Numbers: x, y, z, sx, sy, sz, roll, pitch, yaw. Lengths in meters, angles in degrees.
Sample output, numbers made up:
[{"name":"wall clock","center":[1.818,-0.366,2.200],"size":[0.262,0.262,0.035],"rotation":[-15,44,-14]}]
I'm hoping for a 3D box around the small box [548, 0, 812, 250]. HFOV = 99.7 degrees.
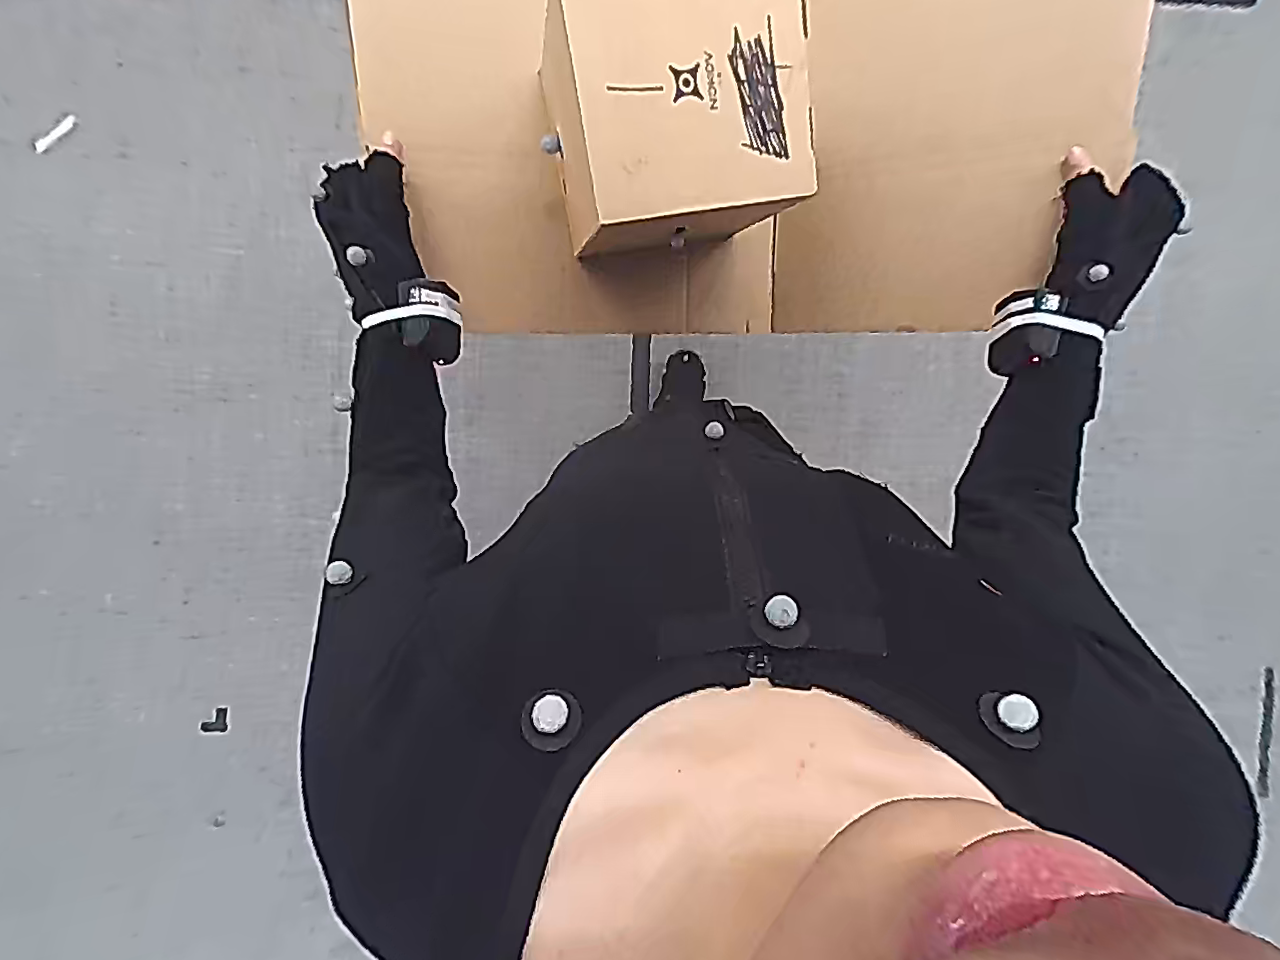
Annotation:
[{"name":"small box","center":[0.025,-0.307,0.468],"size":[0.179,0.176,0.168],"rotation":[-13,106,-9]}]
